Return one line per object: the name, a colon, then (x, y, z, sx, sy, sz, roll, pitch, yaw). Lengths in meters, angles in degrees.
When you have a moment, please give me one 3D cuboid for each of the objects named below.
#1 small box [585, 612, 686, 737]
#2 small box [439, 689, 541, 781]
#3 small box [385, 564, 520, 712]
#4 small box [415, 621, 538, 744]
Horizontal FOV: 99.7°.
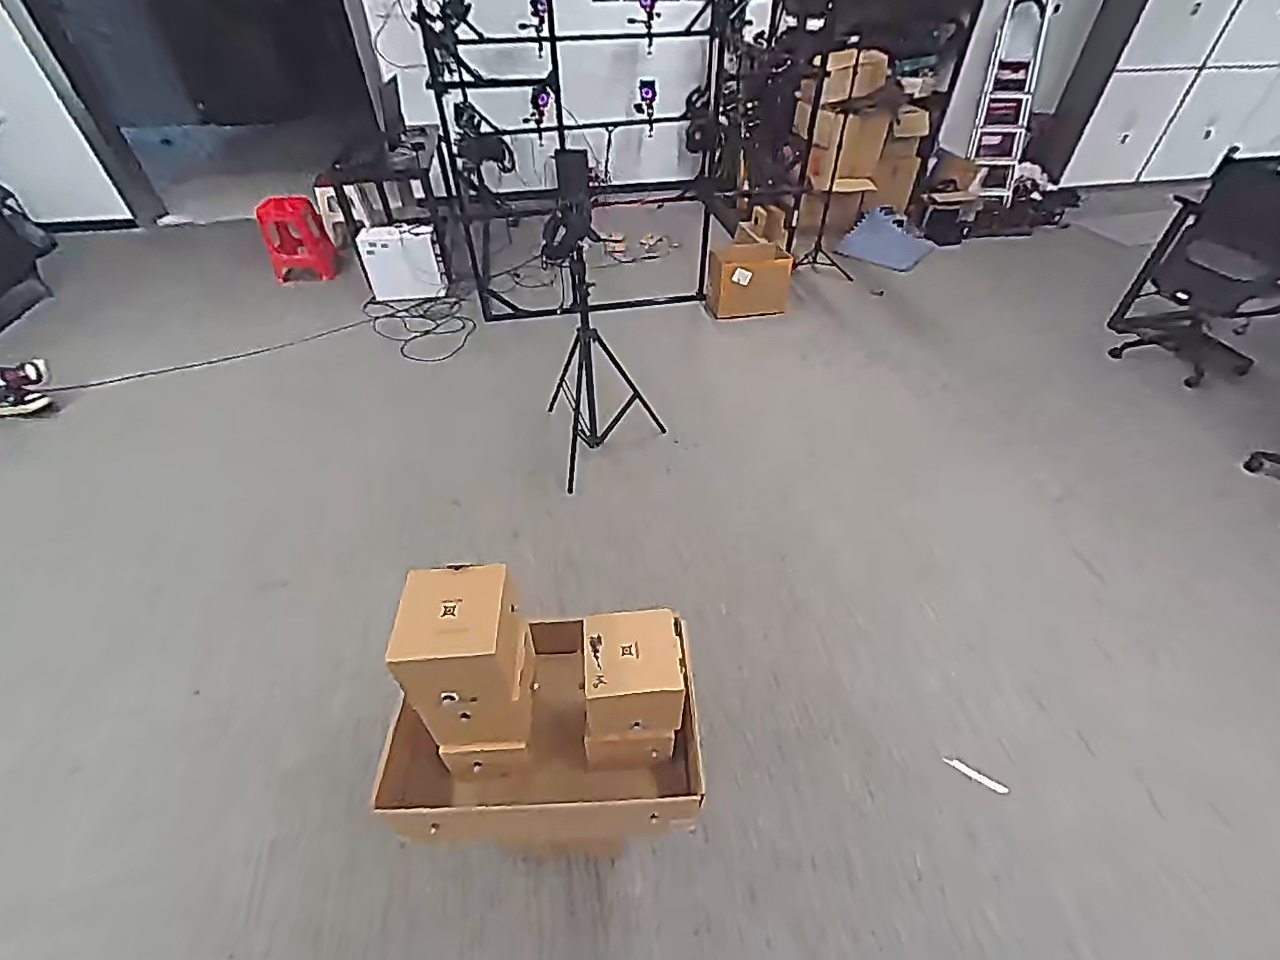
small box: (-0.014, 0.372, 1.033, 0.179, 0.176, 0.168, -3, 43, -4)
small box: (-0.302, 0.511, 1.131, 0.168, 0.176, 0.179, -2, 42, -4)
small box: (-0.301, 0.265, 0.913, 0.168, 0.176, 0.179, -3, 42, -3)
small box: (-0.297, 0.385, 1.025, 0.179, 0.176, 0.168, -1, 43, -2)
